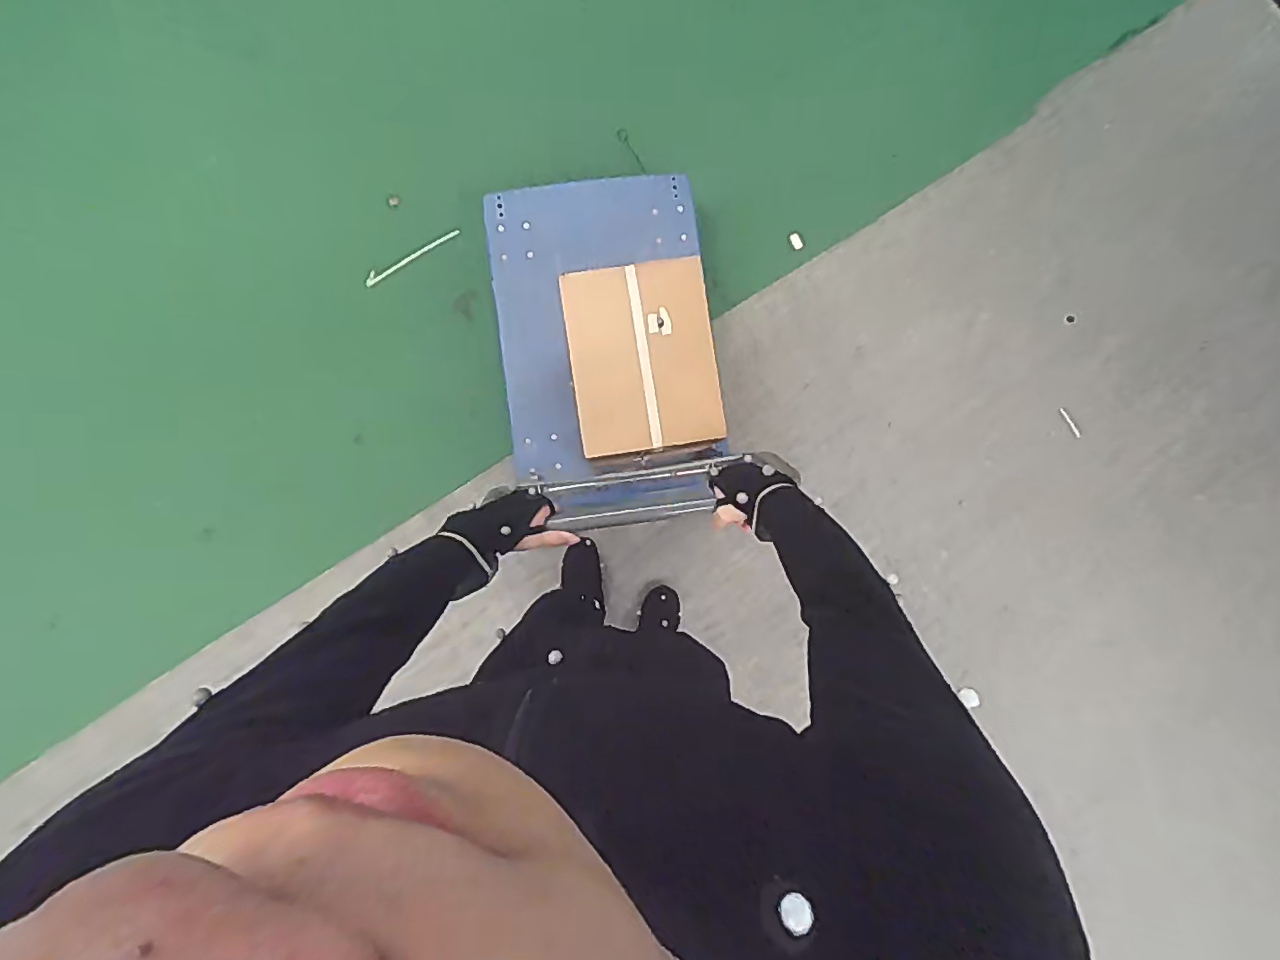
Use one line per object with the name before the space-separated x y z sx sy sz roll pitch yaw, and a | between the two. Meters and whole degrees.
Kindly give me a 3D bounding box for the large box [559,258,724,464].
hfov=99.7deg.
large box | -0.002 -0.267 1.332 0.320 0.320 0.408 -8 88 -3
